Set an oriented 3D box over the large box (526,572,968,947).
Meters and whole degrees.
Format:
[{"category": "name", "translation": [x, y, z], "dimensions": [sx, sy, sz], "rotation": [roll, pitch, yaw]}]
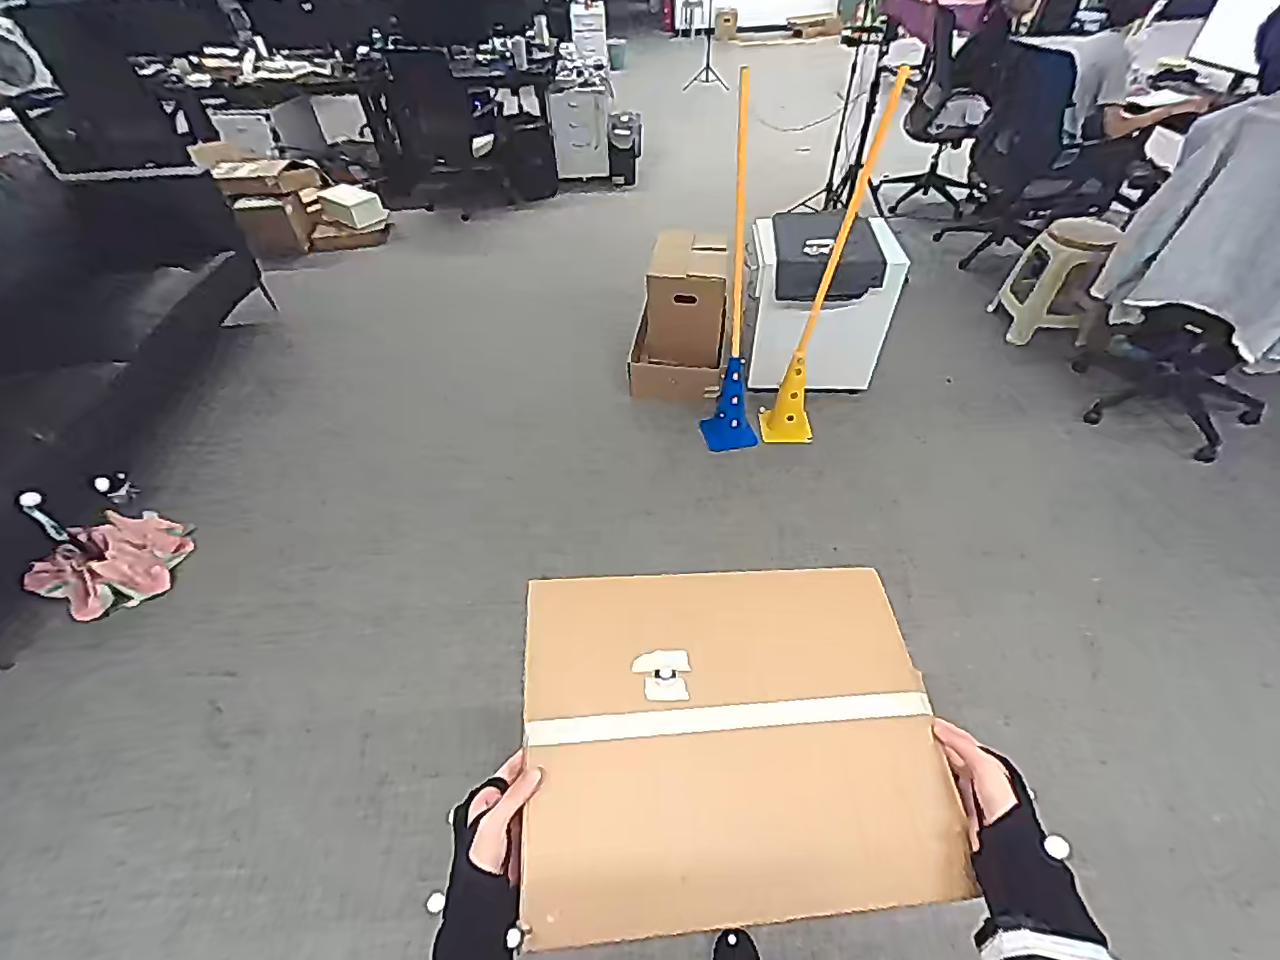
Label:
[{"category": "large box", "translation": [0.080, 0.325, 0.669], "dimensions": [0.408, 0.320, 0.320], "rotation": [-2, 56, -6]}]
